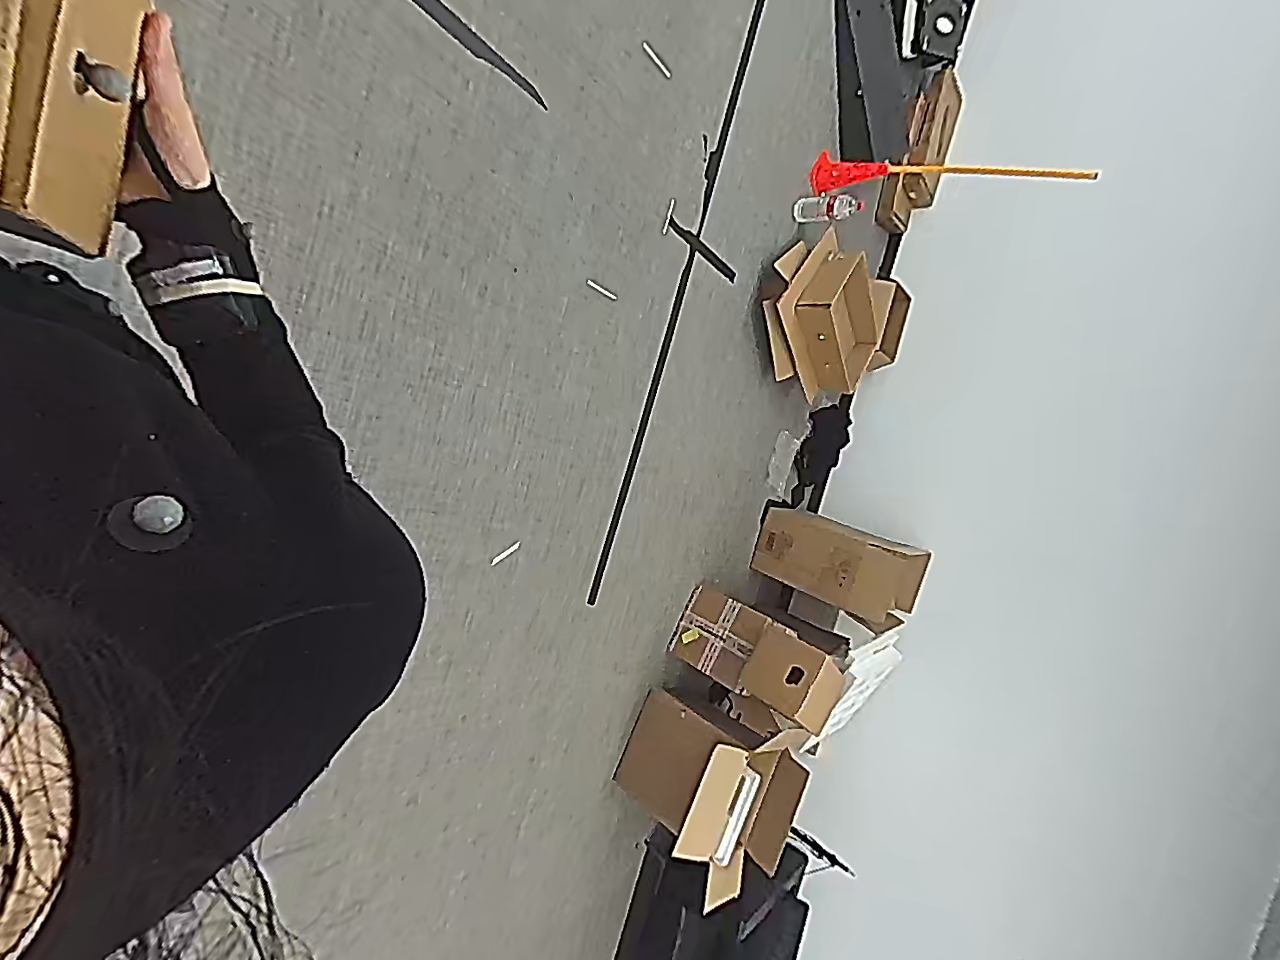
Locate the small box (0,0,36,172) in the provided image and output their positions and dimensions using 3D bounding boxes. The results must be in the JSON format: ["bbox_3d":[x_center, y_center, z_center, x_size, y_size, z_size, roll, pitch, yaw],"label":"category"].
[{"bbox_3d":[-0.279,-0.190,0.123,0.179,0.176,0.168,9,96,-37],"label":"small box"}]

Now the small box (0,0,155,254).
[{"bbox_3d":[-0.361,-0.233,0.260,0.168,0.176,0.179,12,95,-38],"label":"small box"}]
